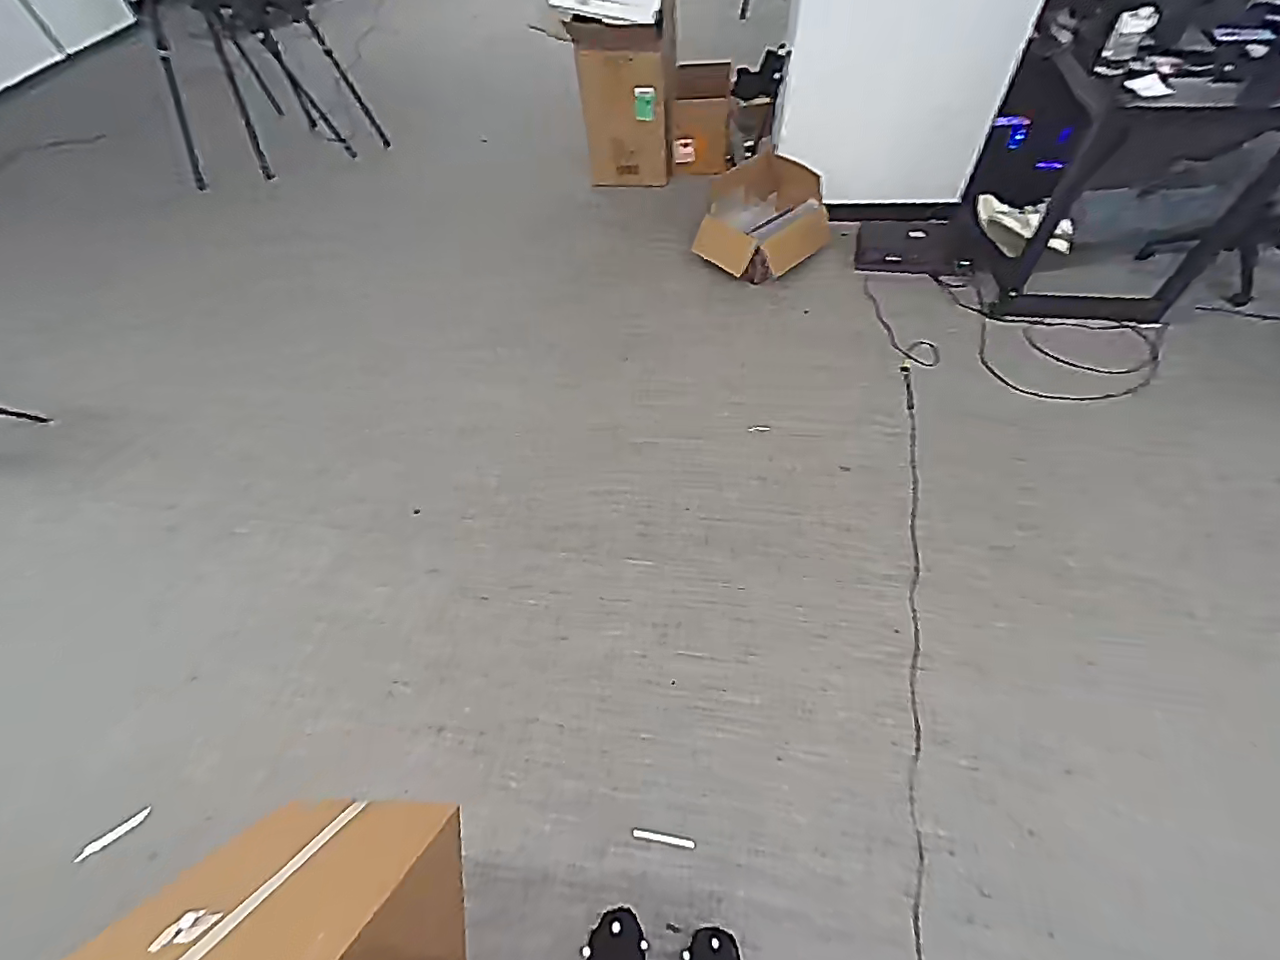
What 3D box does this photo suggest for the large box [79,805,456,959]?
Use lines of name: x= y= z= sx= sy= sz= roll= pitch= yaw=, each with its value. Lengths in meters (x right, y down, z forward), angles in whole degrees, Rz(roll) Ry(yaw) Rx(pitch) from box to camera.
large box: x=-0.459 y=0.678 z=0.677 sx=0.320 sy=0.408 sz=0.320 roll=-4 pitch=89 yaw=7
